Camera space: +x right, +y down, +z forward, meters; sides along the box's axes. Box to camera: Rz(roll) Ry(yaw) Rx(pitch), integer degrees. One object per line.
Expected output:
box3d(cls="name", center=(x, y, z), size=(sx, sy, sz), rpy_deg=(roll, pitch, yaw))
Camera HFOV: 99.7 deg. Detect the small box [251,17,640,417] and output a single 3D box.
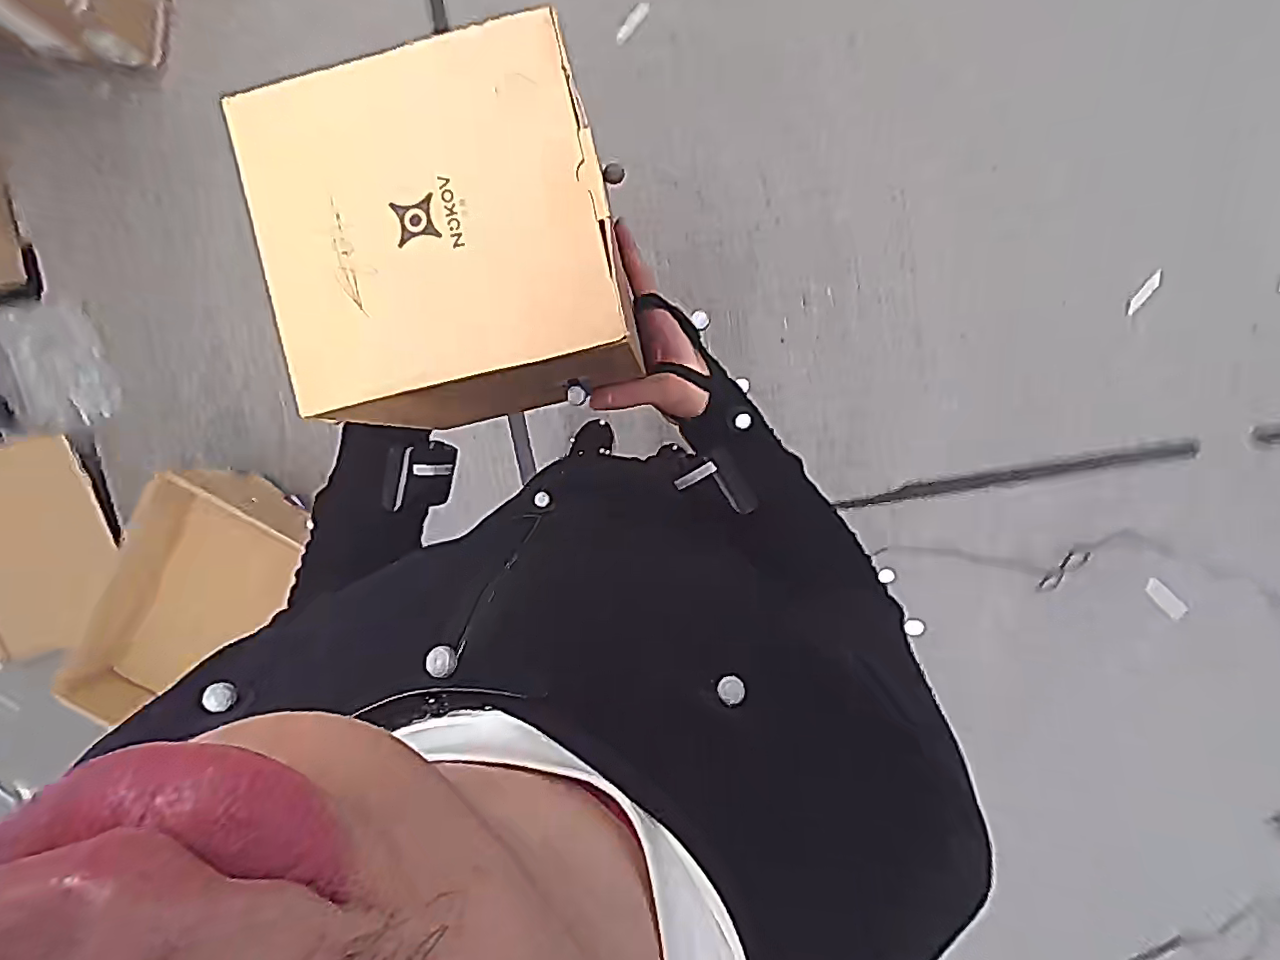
box3d(cls="small box", center=(-0.099, -0.141, 0.359), size=(0.179, 0.176, 0.168), rpy_deg=(-11, 92, 5))
